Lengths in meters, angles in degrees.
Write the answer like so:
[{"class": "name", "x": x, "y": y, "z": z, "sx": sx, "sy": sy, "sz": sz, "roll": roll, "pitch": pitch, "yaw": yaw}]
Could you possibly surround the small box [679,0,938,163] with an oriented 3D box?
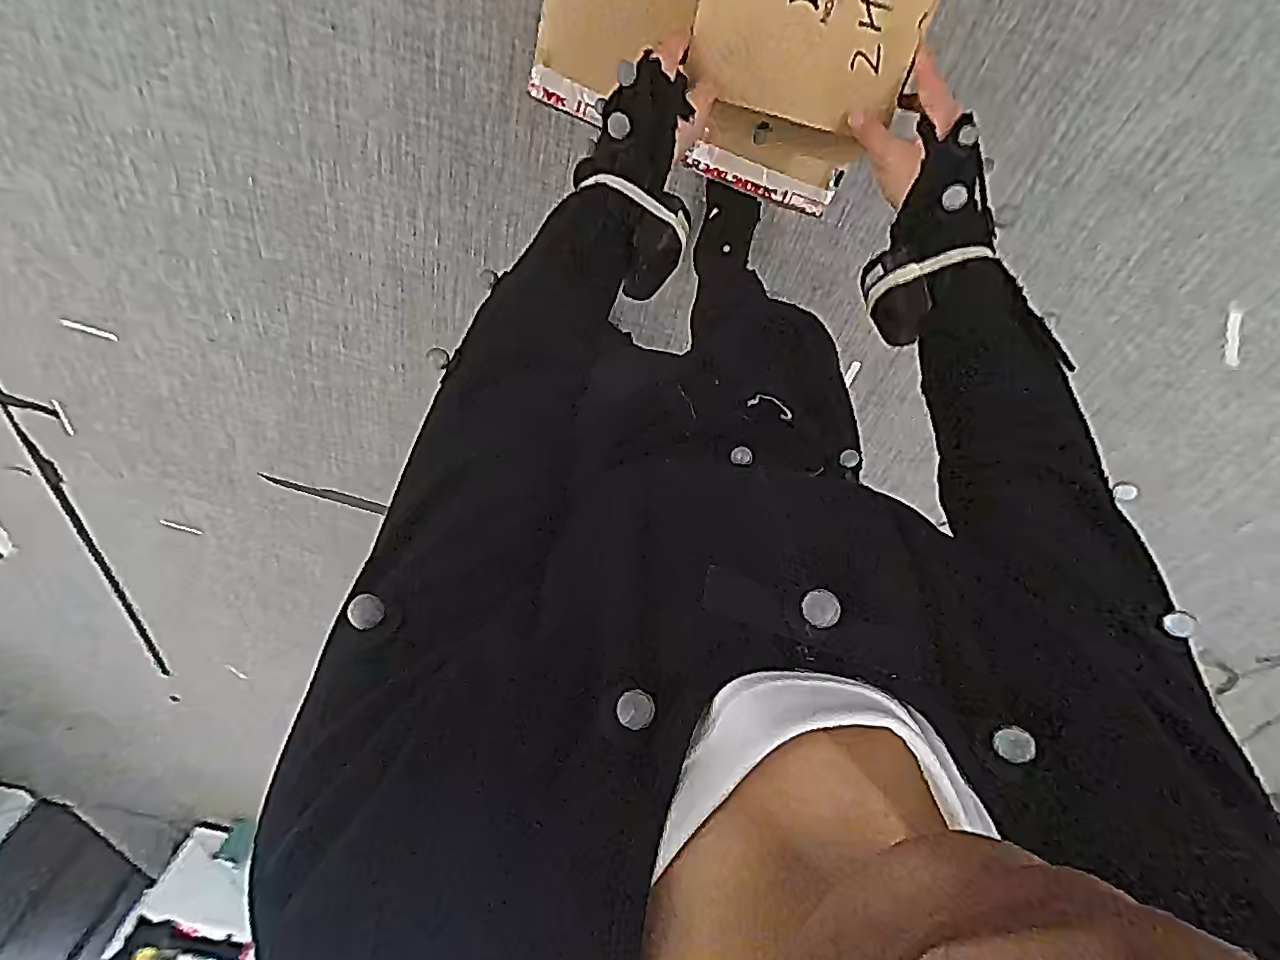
[{"class": "small box", "x": 0.145, "y": -0.398, "z": 0.479, "sx": 0.179, "sy": 0.176, "sz": 0.168, "roll": 16, "pitch": 117, "yaw": 1}]
